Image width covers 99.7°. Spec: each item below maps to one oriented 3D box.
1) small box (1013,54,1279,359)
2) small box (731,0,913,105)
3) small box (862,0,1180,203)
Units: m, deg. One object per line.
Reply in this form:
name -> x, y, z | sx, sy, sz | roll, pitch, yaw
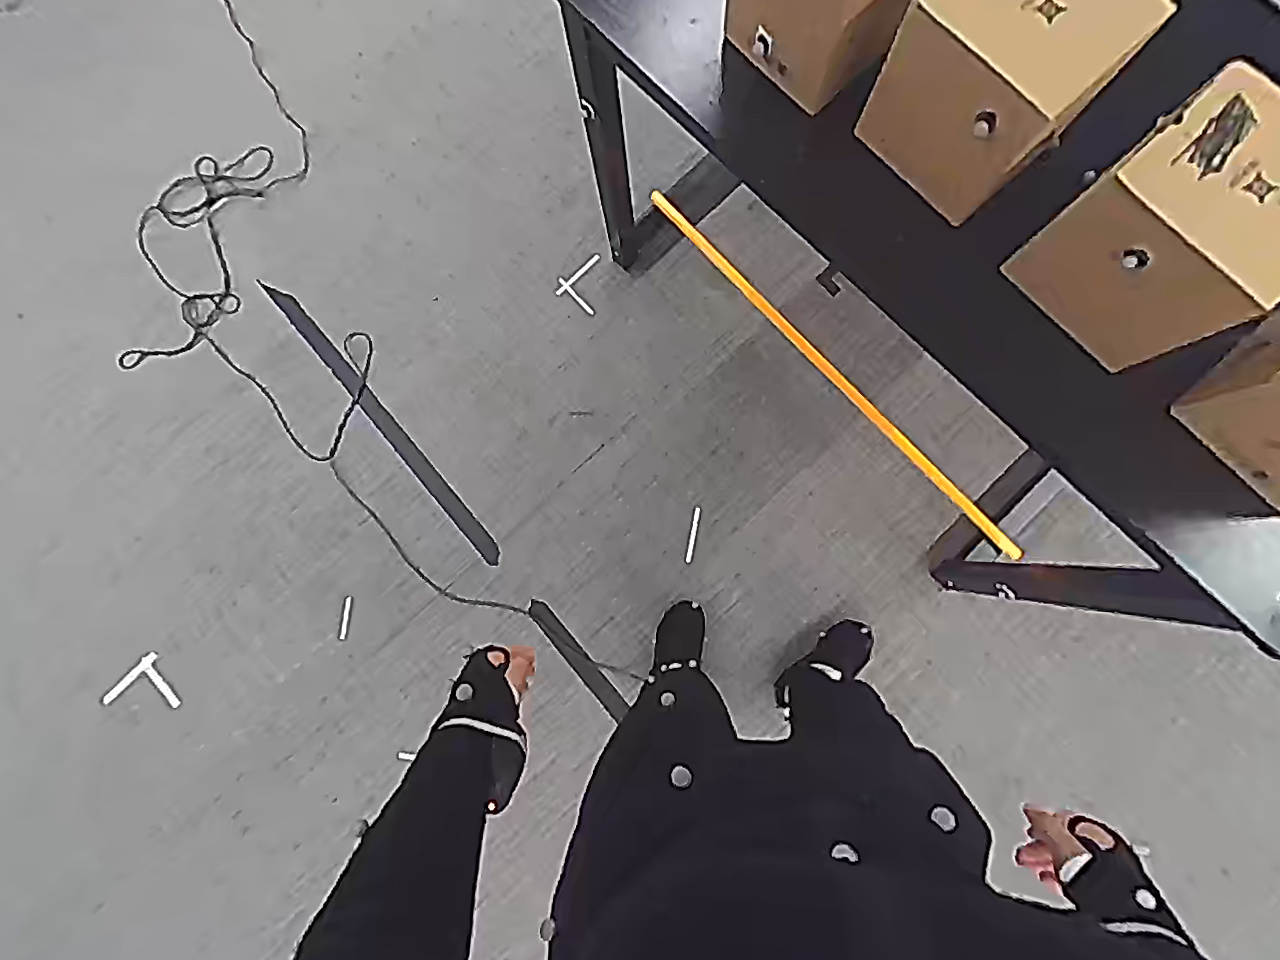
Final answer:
small box -> 0.536, -0.254, 0.544 | 0.168, 0.176, 0.179 | -42, 83, -2
small box -> 0.219, -0.583, 0.603 | 0.179, 0.176, 0.168 | -43, 81, -2
small box -> 0.378, -0.434, 0.574 | 0.168, 0.176, 0.179 | -42, 82, -3
